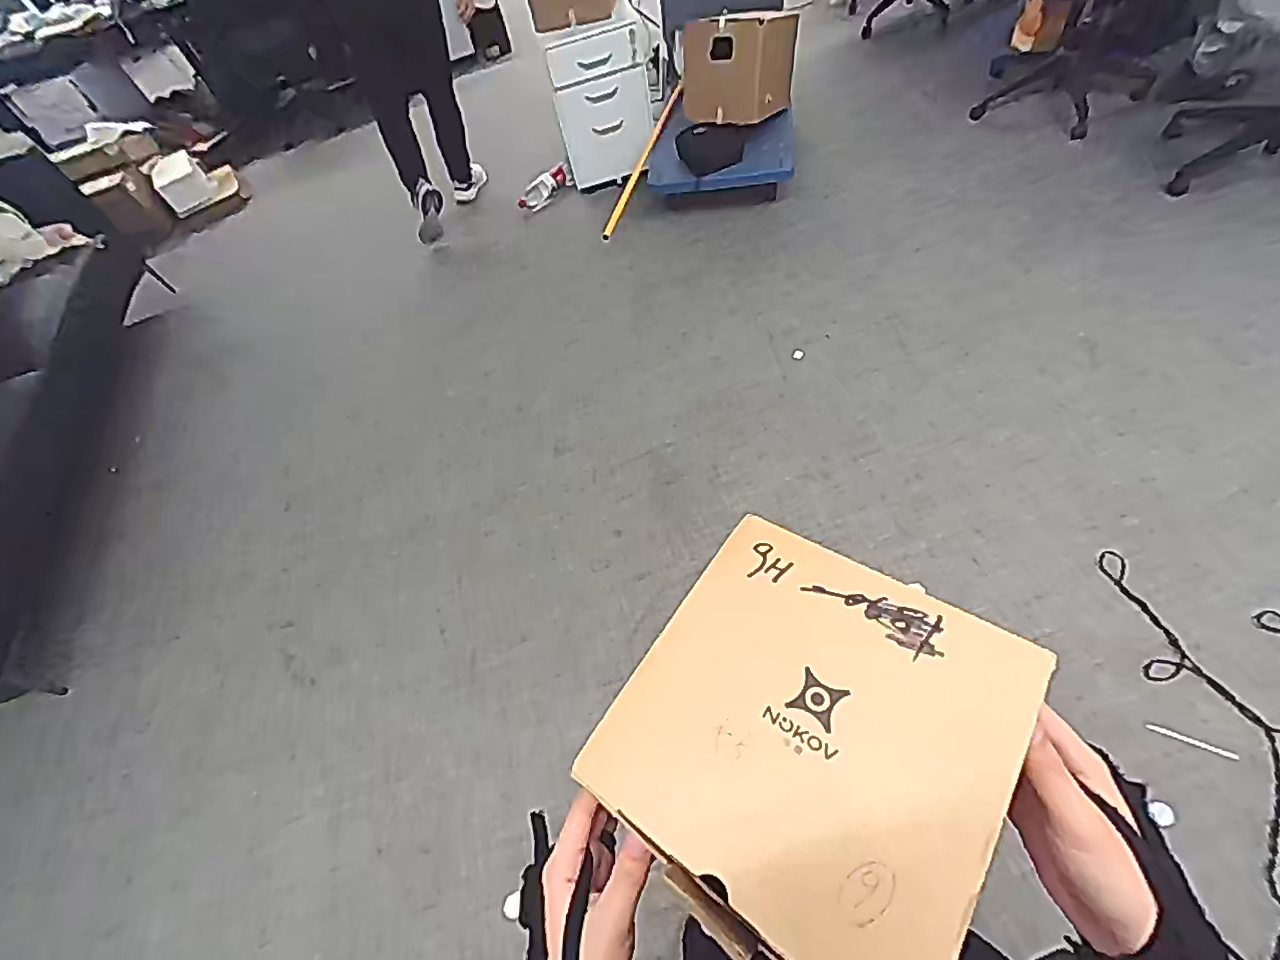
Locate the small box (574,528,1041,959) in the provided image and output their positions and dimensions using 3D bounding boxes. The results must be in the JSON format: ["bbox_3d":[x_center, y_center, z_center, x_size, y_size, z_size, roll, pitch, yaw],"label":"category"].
[{"bbox_3d":[0.095,0.168,0.325,0.168,0.176,0.179,26,63,29],"label":"small box"}]
